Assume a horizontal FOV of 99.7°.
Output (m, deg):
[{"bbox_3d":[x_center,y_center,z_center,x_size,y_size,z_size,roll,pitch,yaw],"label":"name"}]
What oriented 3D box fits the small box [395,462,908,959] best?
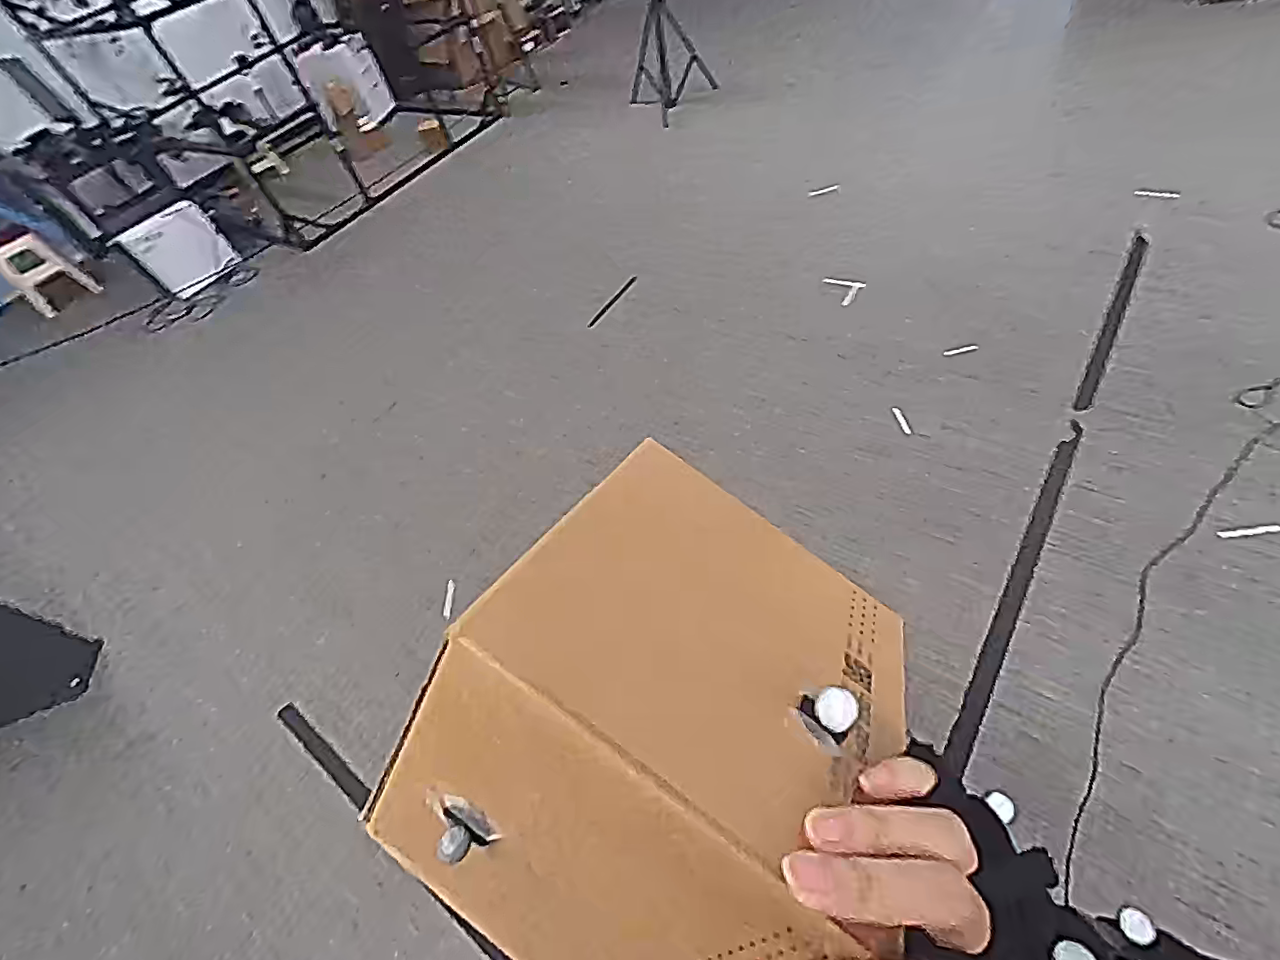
[{"bbox_3d":[0.010,0.129,0.285,0.176,0.179,0.168,36,34,4],"label":"small box"}]
